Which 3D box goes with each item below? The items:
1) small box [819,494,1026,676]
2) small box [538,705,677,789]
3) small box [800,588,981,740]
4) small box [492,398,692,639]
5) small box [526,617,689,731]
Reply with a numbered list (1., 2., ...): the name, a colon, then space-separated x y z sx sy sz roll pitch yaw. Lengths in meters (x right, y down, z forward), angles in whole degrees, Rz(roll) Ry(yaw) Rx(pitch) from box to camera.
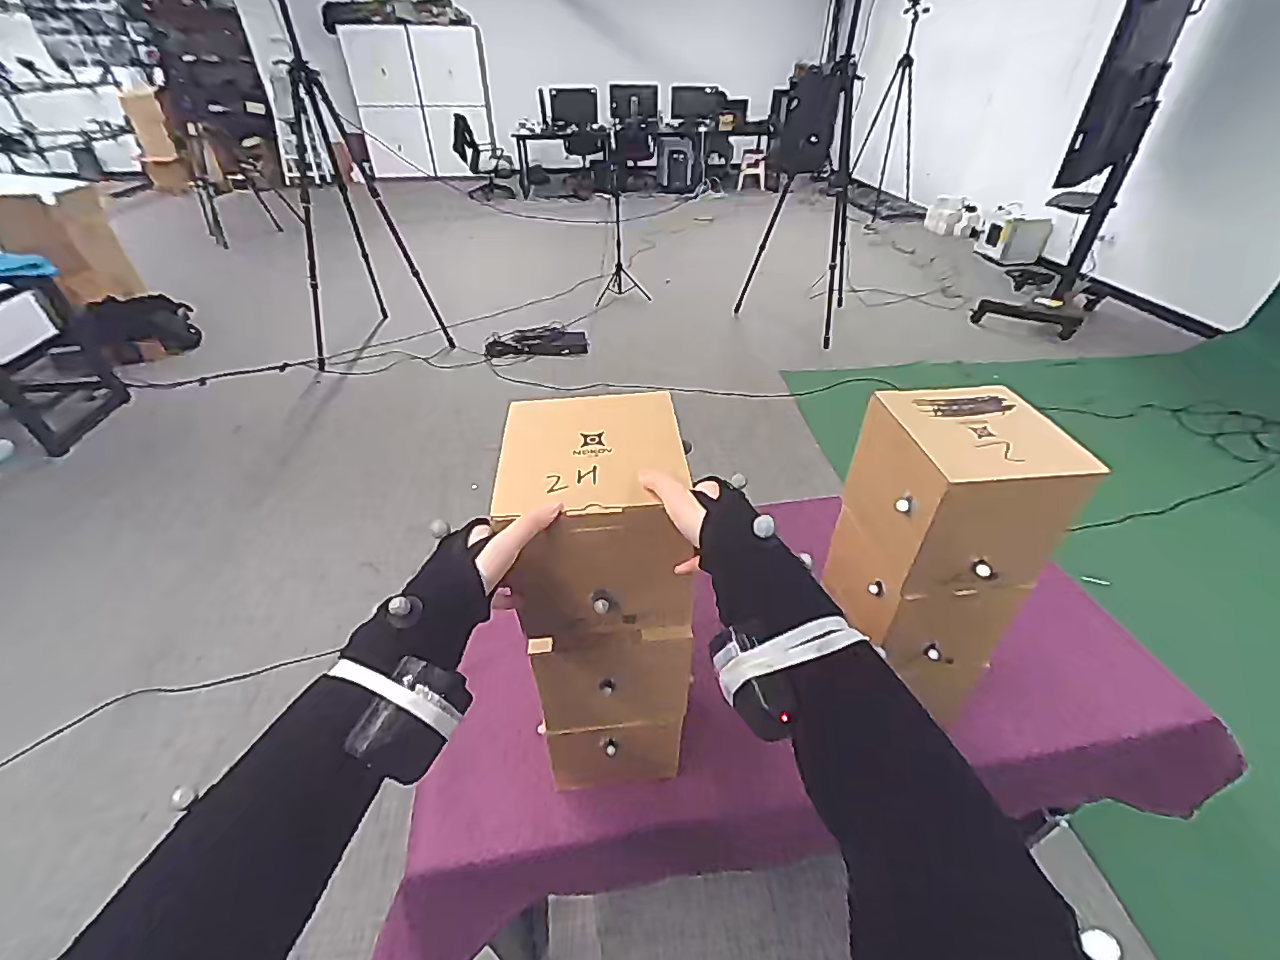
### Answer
1. small box: 0.365 0.141 0.743 0.168 0.176 0.179 -5 39 -5
2. small box: -0.046 0.322 0.780 0.179 0.176 0.168 -4 39 -5
3. small box: 0.369 0.276 0.835 0.179 0.176 0.168 -4 37 -6
4. small box: -0.044 0.036 0.552 0.168 0.176 0.179 -5 40 -3
5. small box: -0.041 0.191 0.681 0.179 0.176 0.168 -5 39 -4
